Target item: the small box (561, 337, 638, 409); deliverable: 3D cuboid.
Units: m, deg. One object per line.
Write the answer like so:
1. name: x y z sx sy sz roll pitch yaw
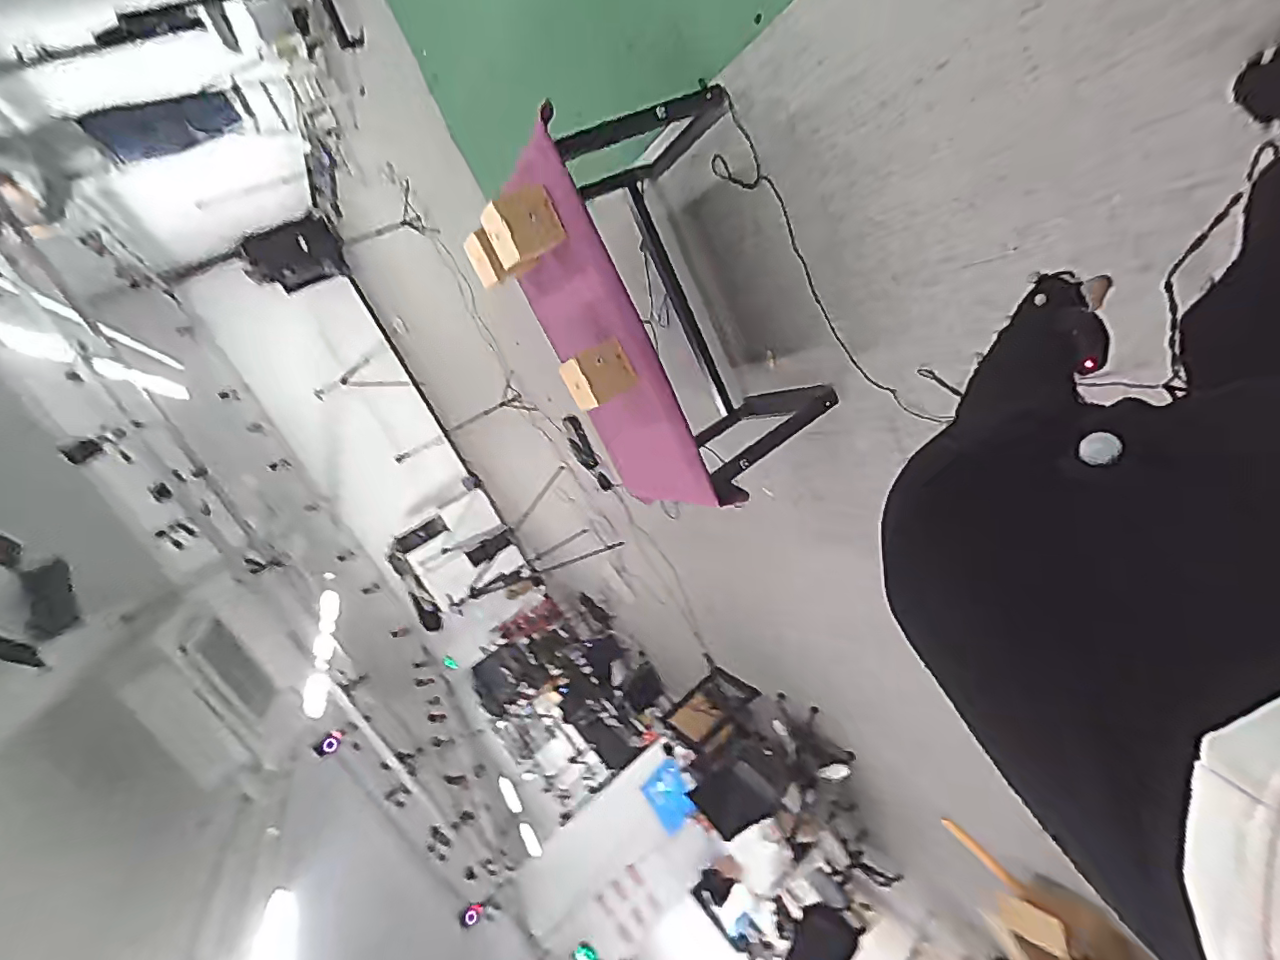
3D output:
1. small box: -0.129 -0.351 1.773 0.168 0.176 0.179 63 159 -13

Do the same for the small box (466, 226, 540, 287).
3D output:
1. small box: -0.473 -0.794 1.877 0.179 0.176 0.168 13 133 59

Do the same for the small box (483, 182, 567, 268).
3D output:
1. small box: -0.342 -0.770 1.634 0.179 0.176 0.168 16 135 60
